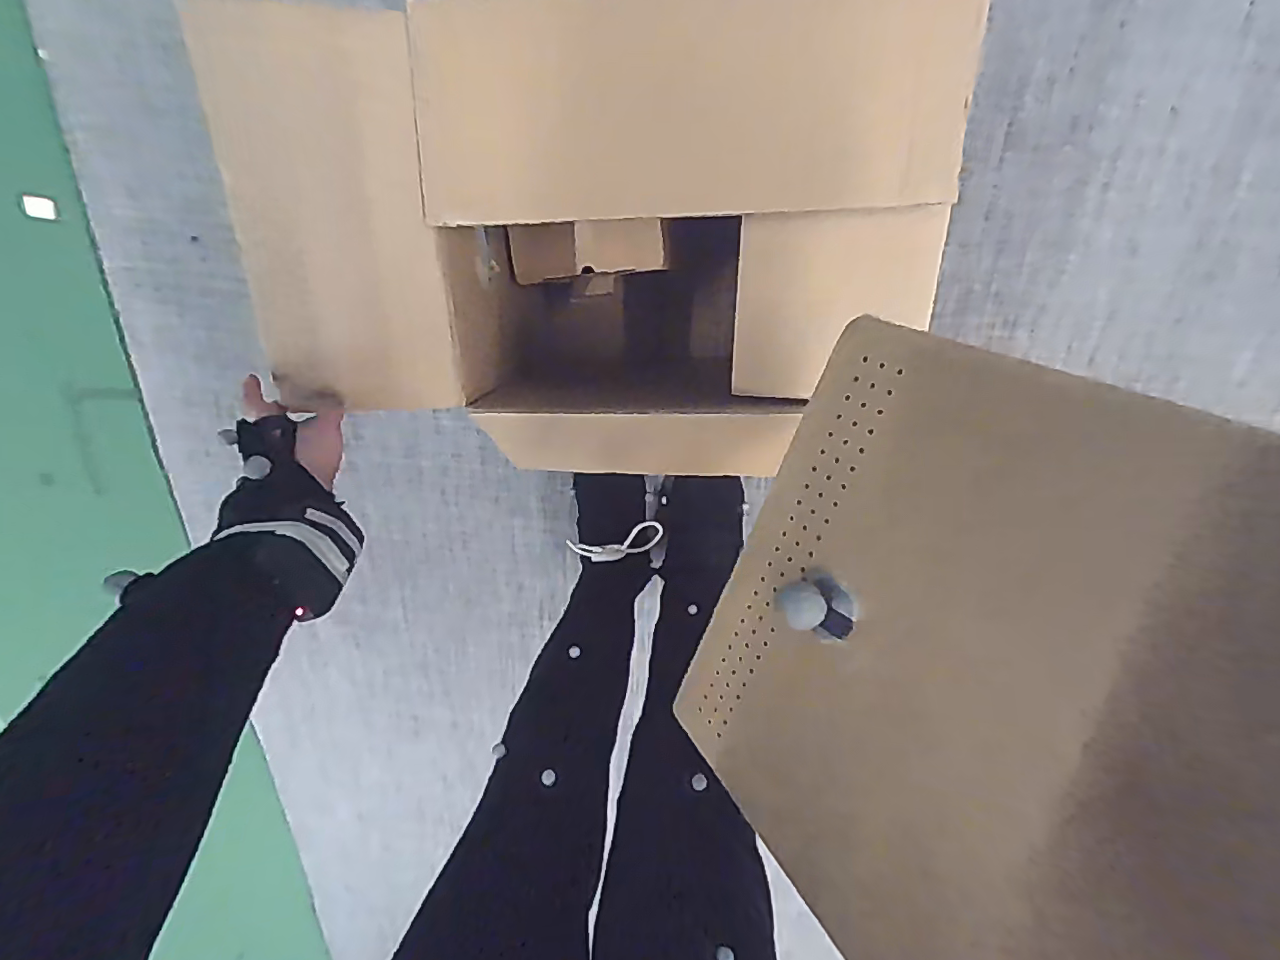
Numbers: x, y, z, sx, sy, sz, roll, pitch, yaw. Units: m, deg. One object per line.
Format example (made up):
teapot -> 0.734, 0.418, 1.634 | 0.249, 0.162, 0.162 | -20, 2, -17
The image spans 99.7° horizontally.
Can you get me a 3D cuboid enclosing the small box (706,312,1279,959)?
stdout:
small box -> 0.149, 0.060, 0.195 | 0.168, 0.176, 0.179 | 4, 115, -35
